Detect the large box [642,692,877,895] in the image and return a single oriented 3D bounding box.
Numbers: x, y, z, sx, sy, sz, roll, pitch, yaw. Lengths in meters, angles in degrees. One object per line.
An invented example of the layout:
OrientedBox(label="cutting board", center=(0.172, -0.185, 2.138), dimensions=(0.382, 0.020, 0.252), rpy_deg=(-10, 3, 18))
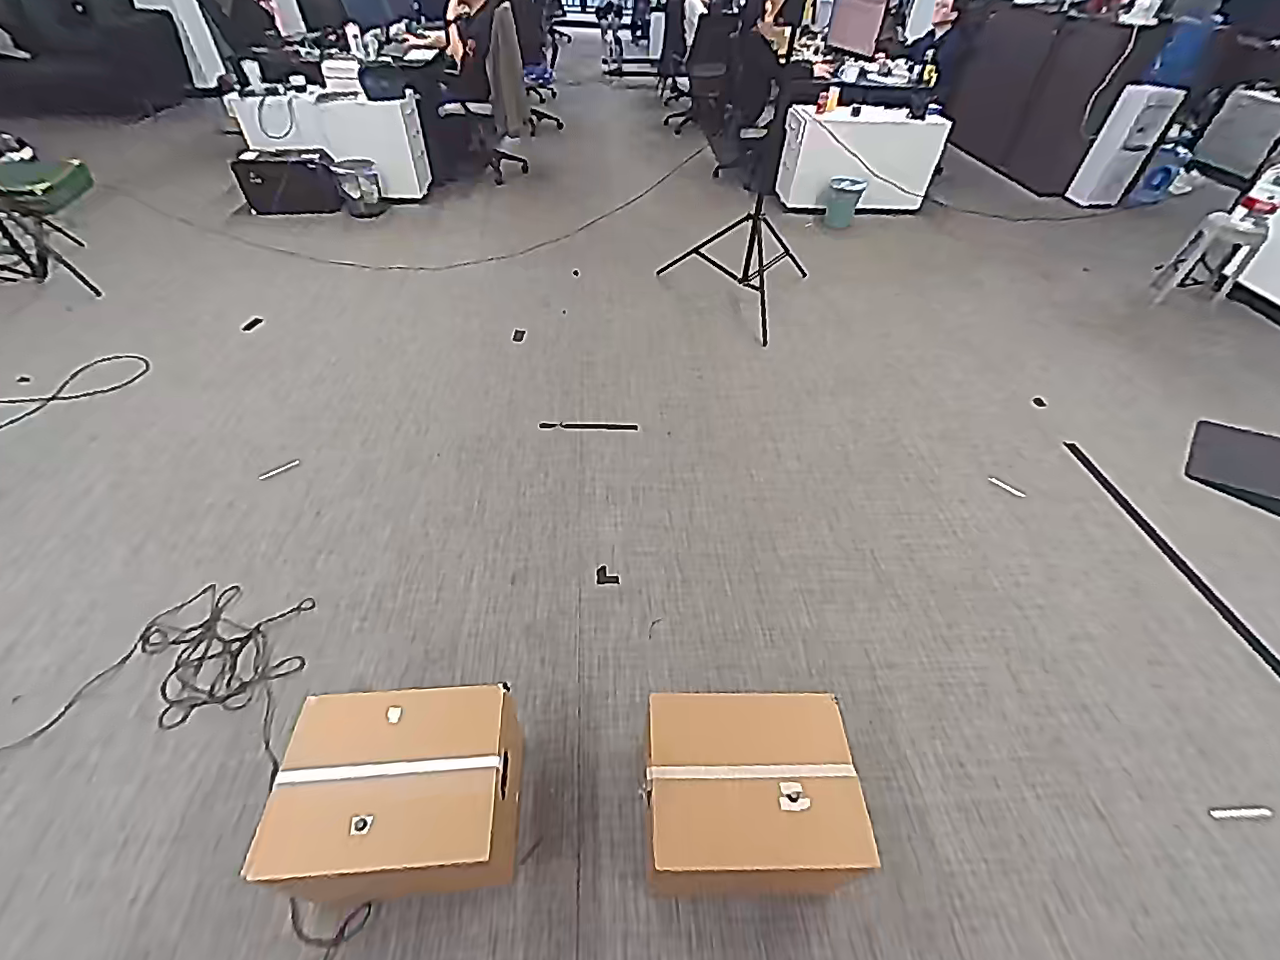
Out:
OrientedBox(label="large box", center=(0.217, 0.674, 1.165), dimensions=(0.408, 0.320, 0.320), rpy_deg=(2, 46, -3))
